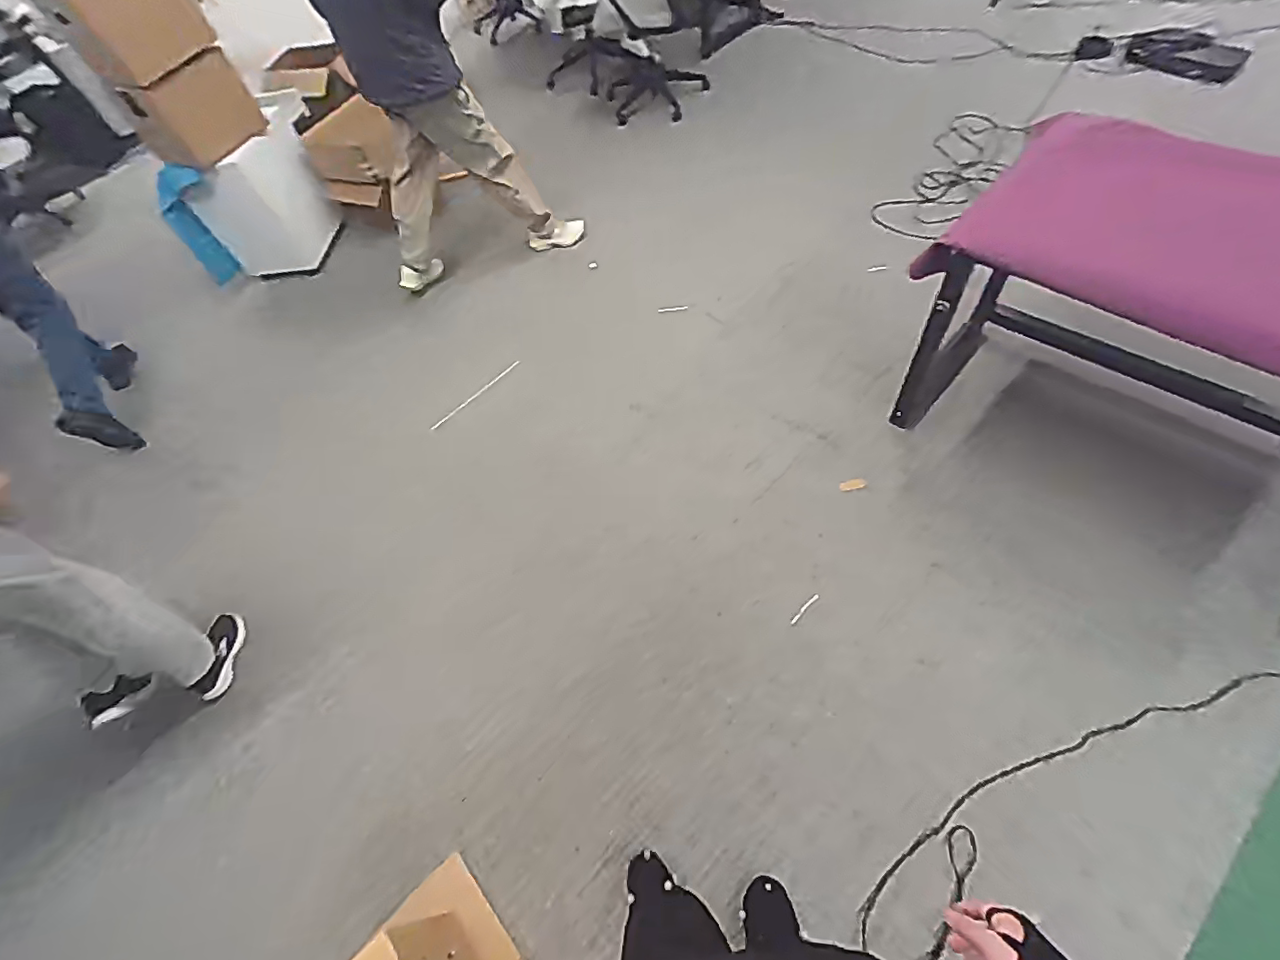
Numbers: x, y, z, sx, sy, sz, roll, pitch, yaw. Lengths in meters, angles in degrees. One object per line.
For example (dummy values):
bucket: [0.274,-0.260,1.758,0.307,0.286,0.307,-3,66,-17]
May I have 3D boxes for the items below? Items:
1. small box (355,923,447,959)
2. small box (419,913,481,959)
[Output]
small box: [-0.481,1.011,1.051,0.168,0.176,0.179,-42,62,-17]
small box: [-0.464,1.100,1.185,0.168,0.176,0.179,-41,61,-16]
